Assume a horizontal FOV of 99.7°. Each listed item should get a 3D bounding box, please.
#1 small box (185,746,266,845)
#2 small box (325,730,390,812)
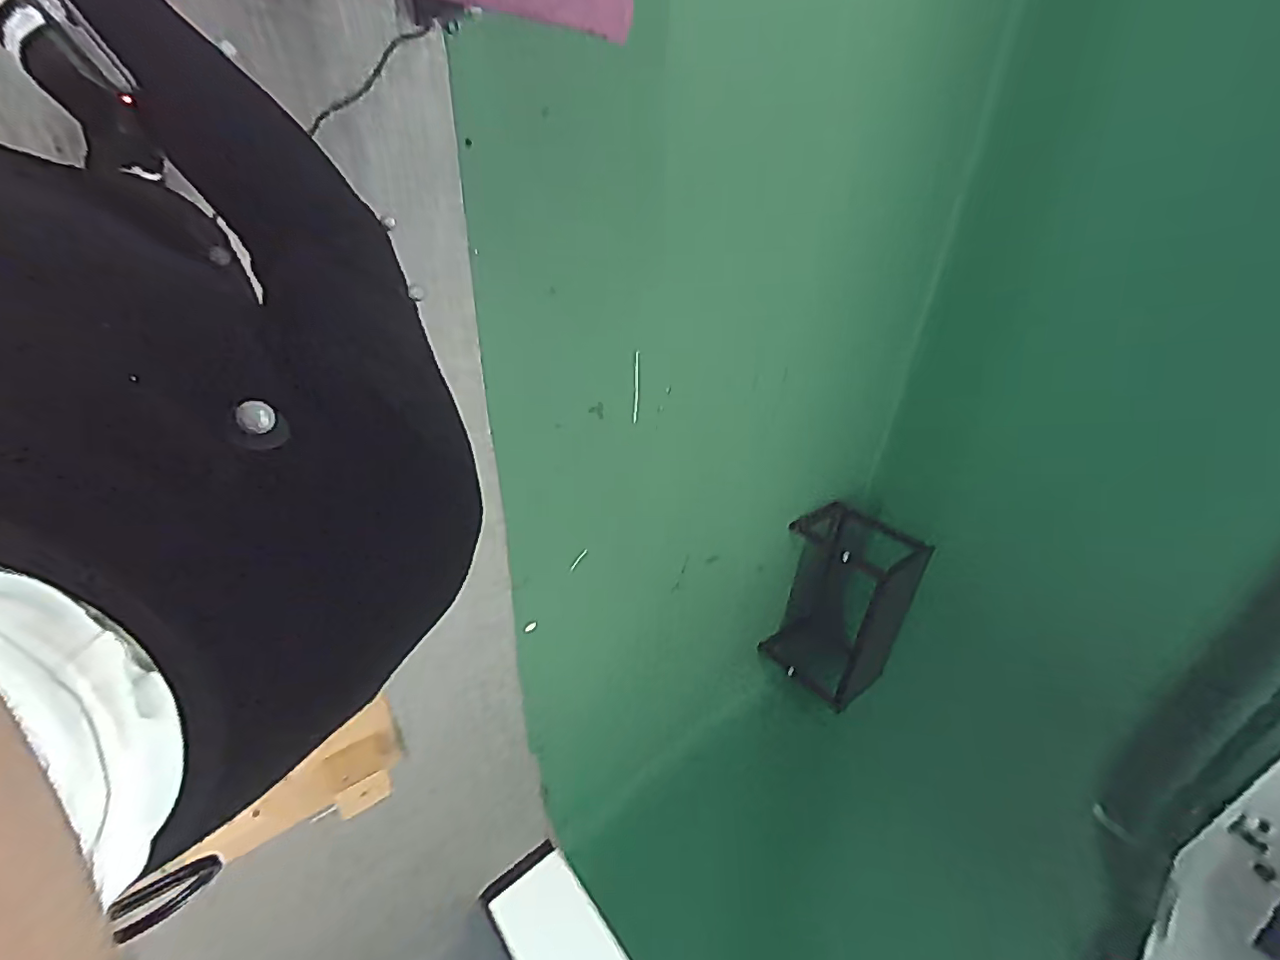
[{"bbox_3d":[-1.336,1.007,1.739,0.179,0.176,0.168,-18,127,-36],"label":"small box"},{"bbox_3d":[-1.075,1.096,2.048,0.179,0.176,0.168,-20,128,-36],"label":"small box"}]
